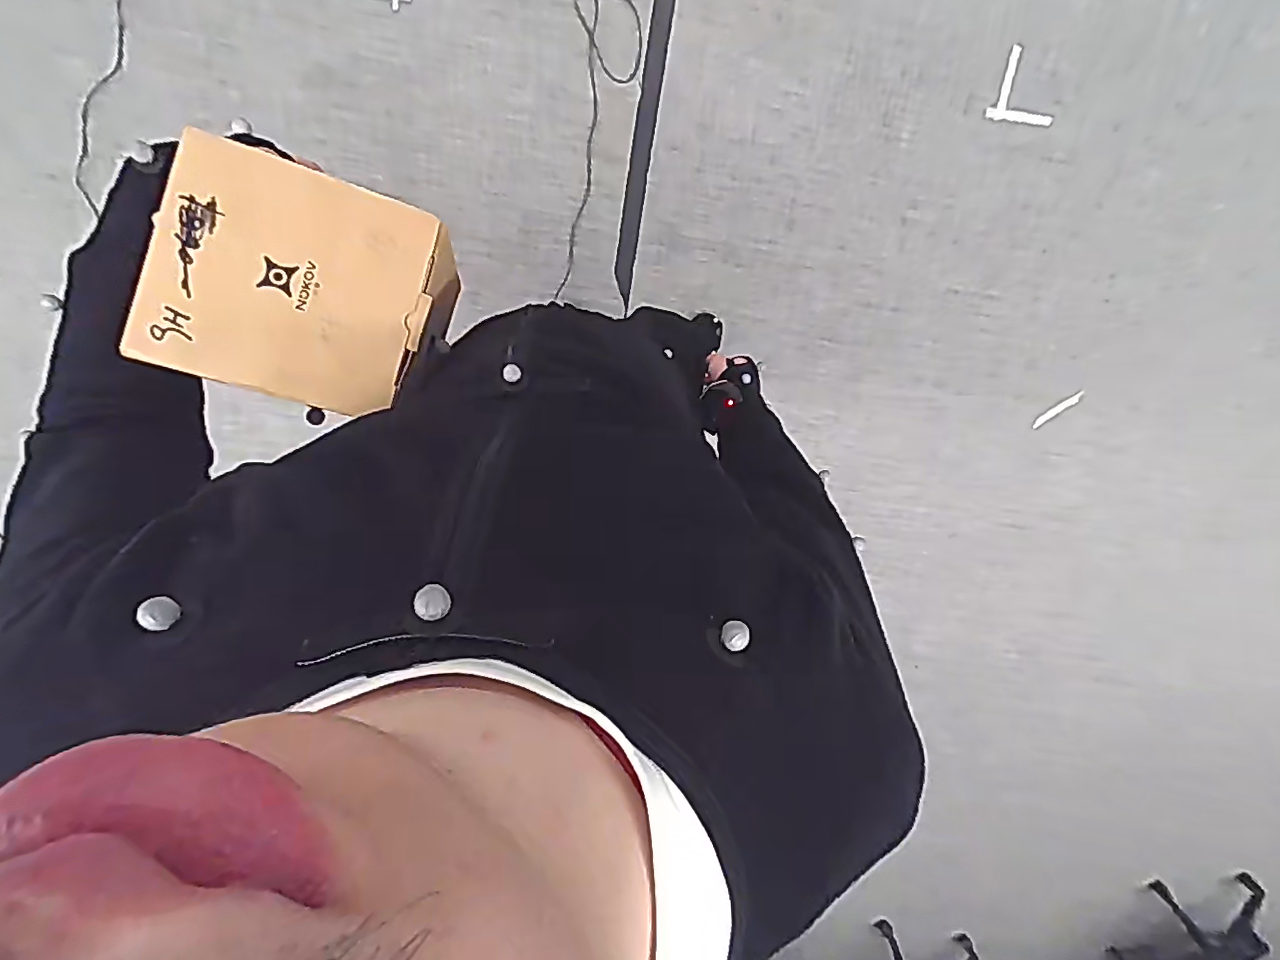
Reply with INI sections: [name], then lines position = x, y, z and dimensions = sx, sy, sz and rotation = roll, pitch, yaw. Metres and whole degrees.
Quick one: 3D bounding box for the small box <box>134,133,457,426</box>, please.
[small box]
position = -0.270, -0.148, 0.474
dimensions = 0.179, 0.176, 0.168
rotation = 15, 89, -15
